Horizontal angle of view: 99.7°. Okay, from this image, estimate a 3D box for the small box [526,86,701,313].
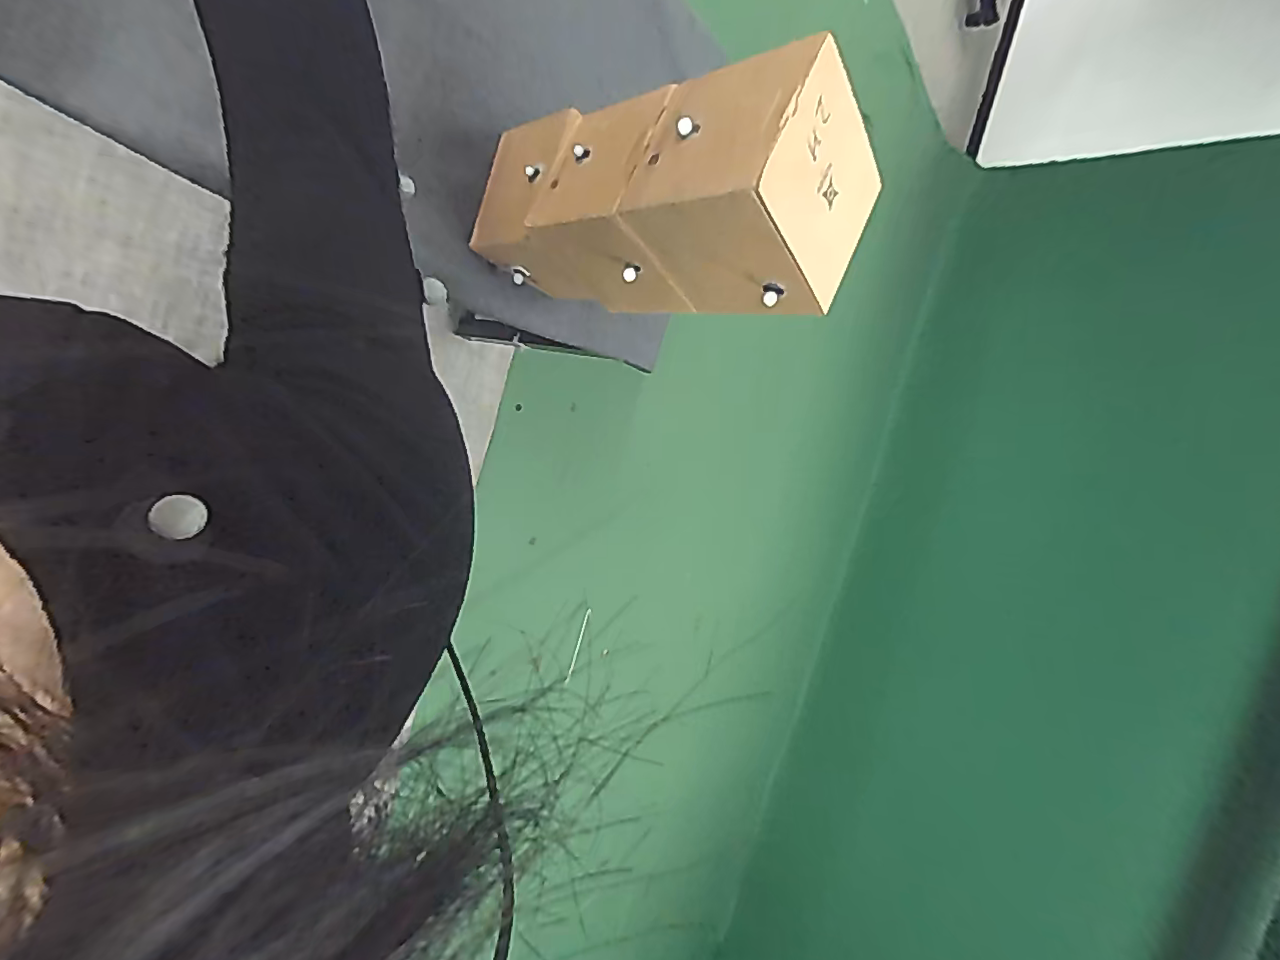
[{"bbox_3d":[-0.004,-0.327,0.665,0.179,0.176,0.168,31,80,-46],"label":"small box"}]

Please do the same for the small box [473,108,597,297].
[{"bbox_3d":[-0.114,-0.379,0.774,0.168,0.176,0.179,16,93,-47],"label":"small box"}]

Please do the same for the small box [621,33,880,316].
[{"bbox_3d":[0.115,-0.291,0.556,0.179,0.176,0.168,33,78,-46],"label":"small box"}]
